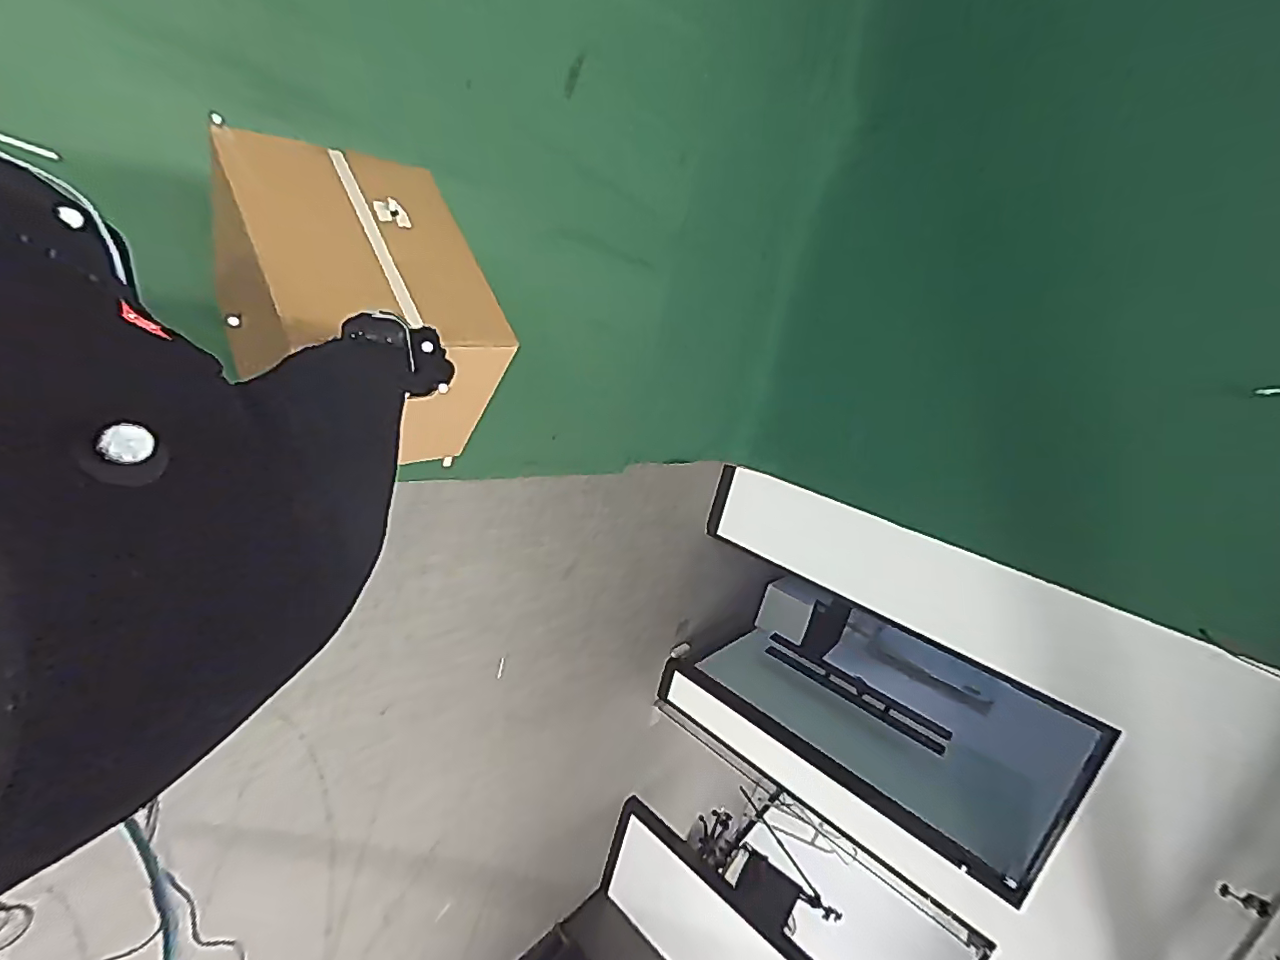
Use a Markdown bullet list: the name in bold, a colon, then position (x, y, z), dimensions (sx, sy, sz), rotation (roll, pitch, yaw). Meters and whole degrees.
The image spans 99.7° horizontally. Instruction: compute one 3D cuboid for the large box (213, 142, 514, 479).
- **large box**: position (-0.475, -0.267, 0.914), dimensions (0.320, 0.408, 0.320), rotation (-14, 157, -43)
